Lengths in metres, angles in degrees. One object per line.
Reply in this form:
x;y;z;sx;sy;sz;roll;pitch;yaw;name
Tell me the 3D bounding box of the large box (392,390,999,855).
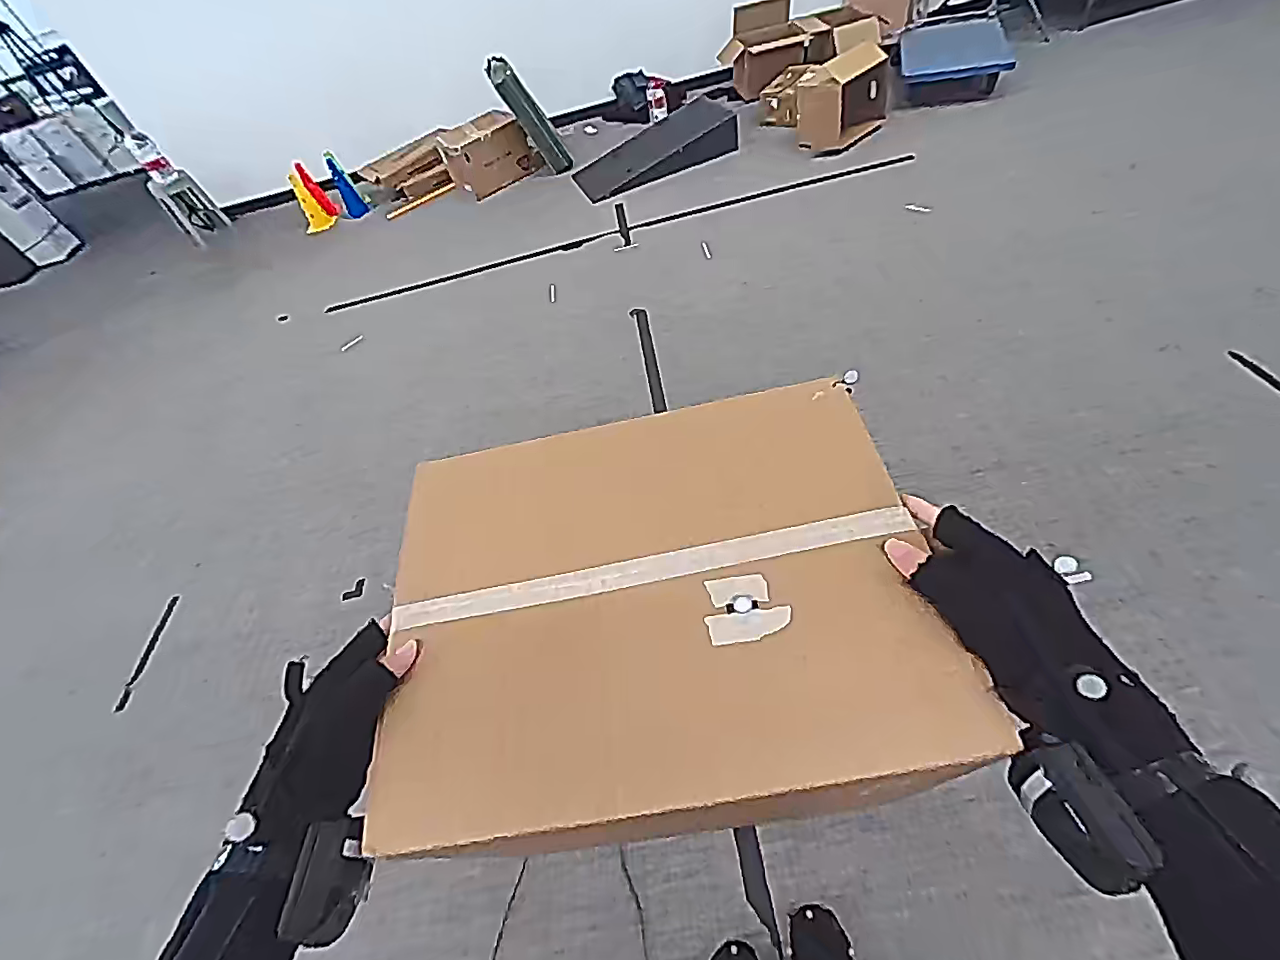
0.033;0.161;0.548;0.408;0.320;0.320;-11;55;3;large box
